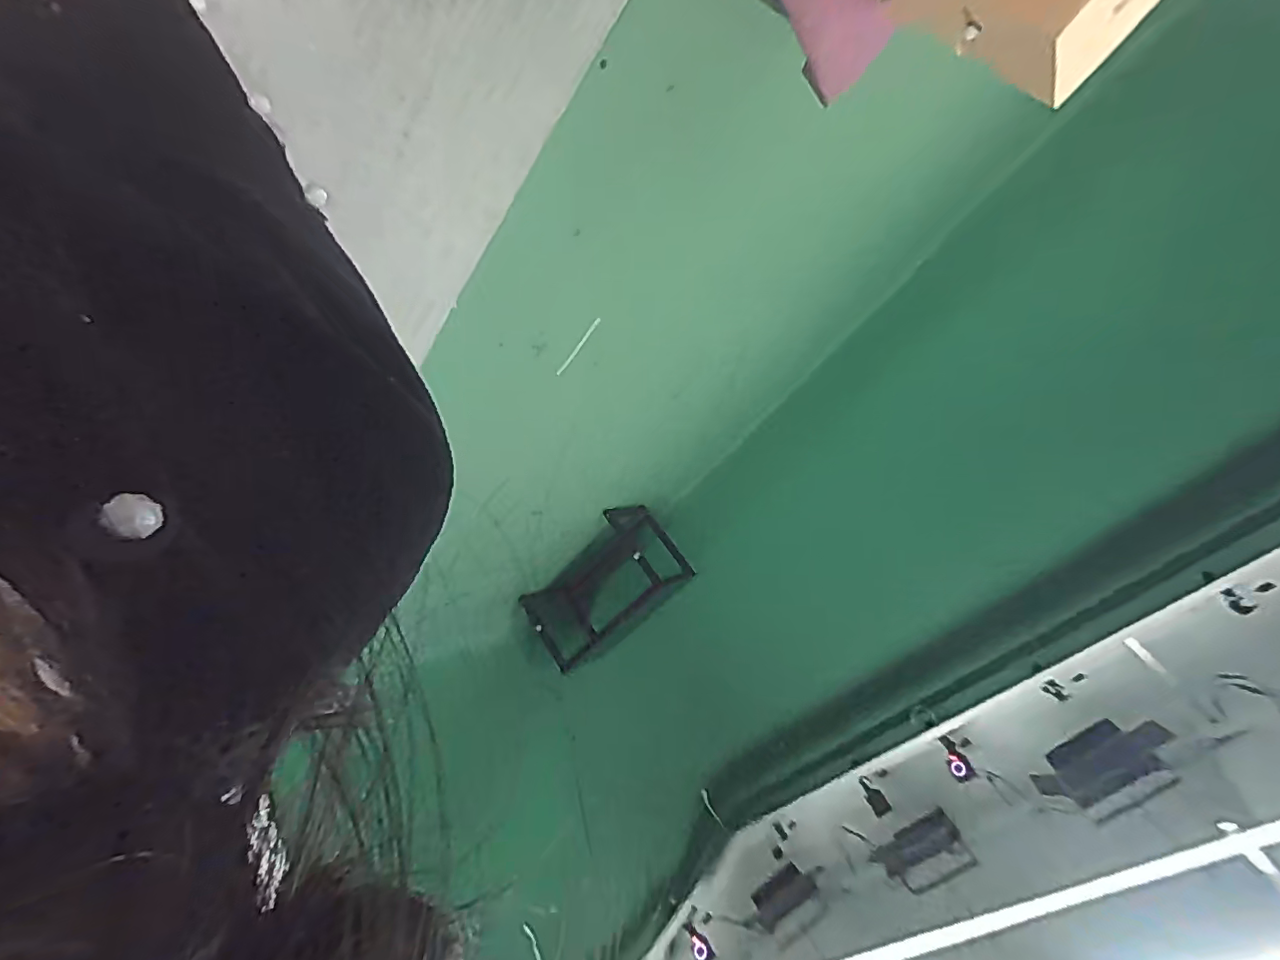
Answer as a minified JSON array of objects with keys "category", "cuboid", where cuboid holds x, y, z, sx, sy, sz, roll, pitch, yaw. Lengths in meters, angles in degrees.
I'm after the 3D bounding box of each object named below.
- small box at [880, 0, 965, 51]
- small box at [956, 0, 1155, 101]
[{"category":"small box","cuboid":[0.434,-0.748,0.723,0.179,0.176,0.168,-47,157,25]},{"category":"small box","cuboid":[0.524,-0.627,0.660,0.168,0.176,0.179,-4,141,-54]}]
